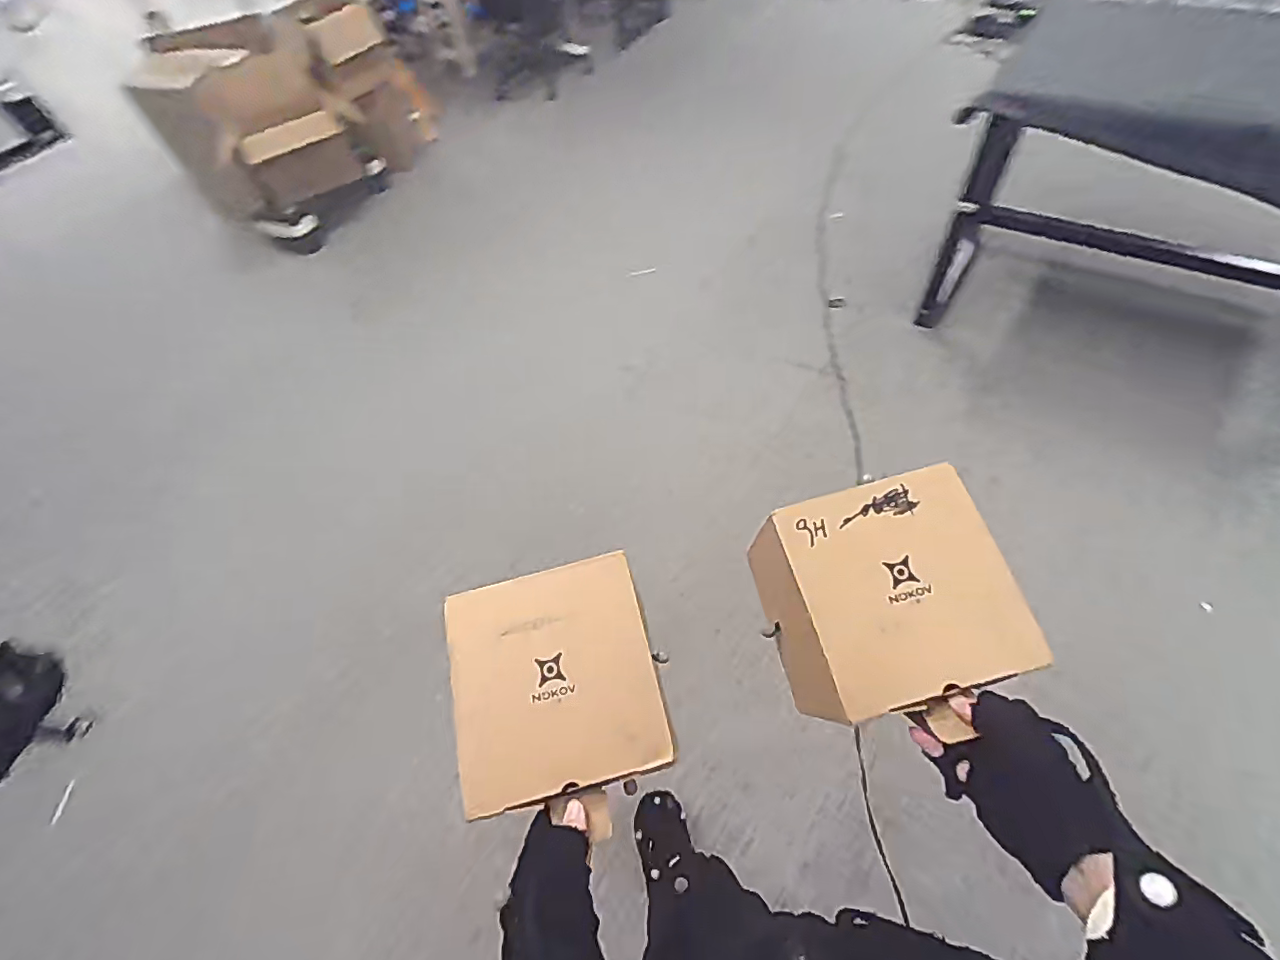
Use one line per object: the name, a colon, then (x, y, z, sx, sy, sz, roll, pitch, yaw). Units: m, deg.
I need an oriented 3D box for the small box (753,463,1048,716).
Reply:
small box: (0.221, 0.108, 0.516, 0.168, 0.176, 0.179, -14, 70, -4)
